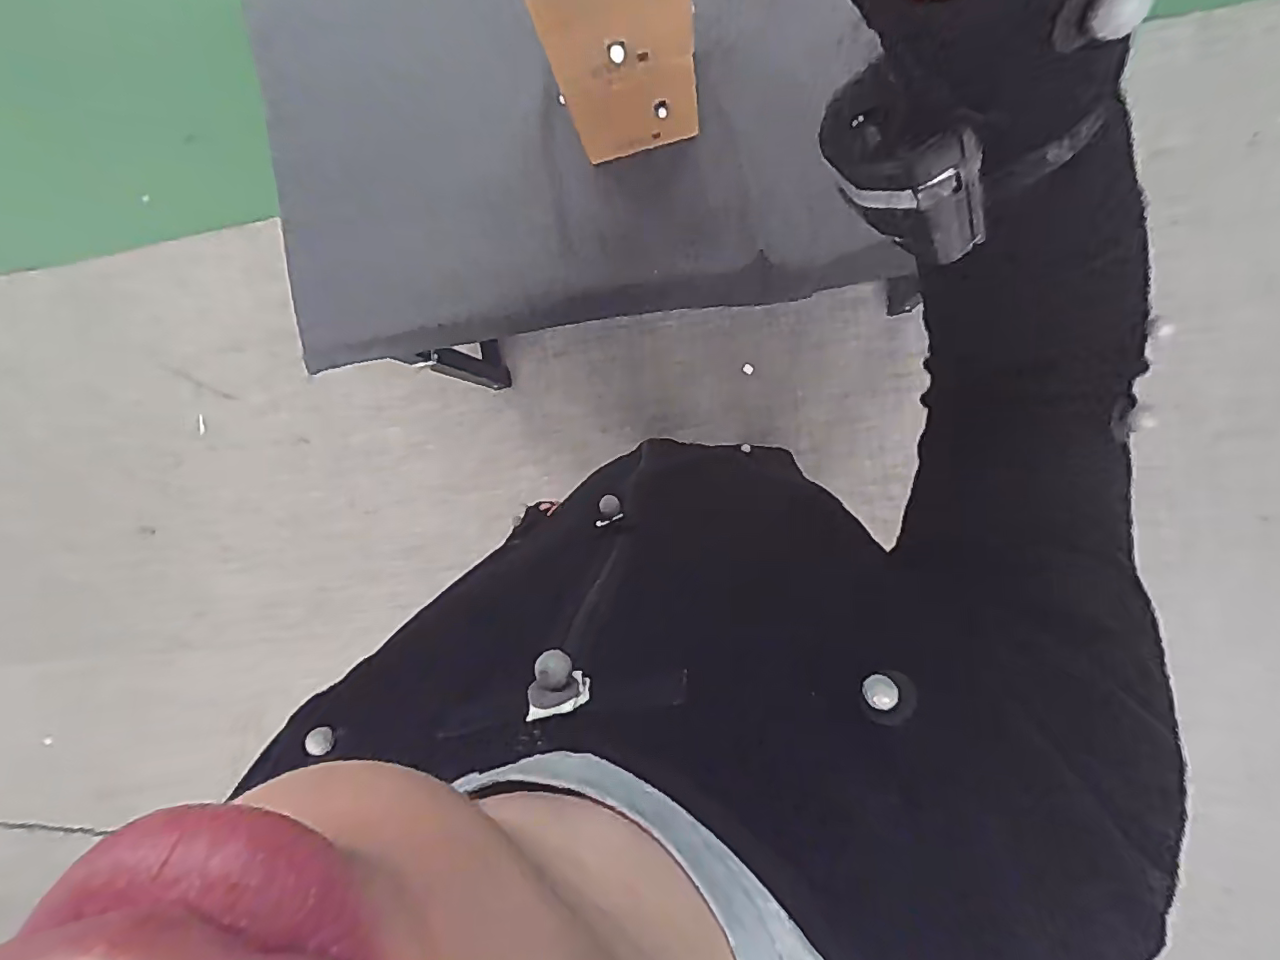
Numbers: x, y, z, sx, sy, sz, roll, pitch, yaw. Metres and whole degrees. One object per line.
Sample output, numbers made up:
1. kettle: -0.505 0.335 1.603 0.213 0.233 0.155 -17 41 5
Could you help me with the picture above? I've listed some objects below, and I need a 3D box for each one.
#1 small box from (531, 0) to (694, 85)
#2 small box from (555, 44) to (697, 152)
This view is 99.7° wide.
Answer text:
1. small box: -0.041 -0.561 0.551 0.168 0.176 0.179 -11 91 8
2. small box: -0.020 -0.569 0.714 0.168 0.176 0.179 -11 89 8
